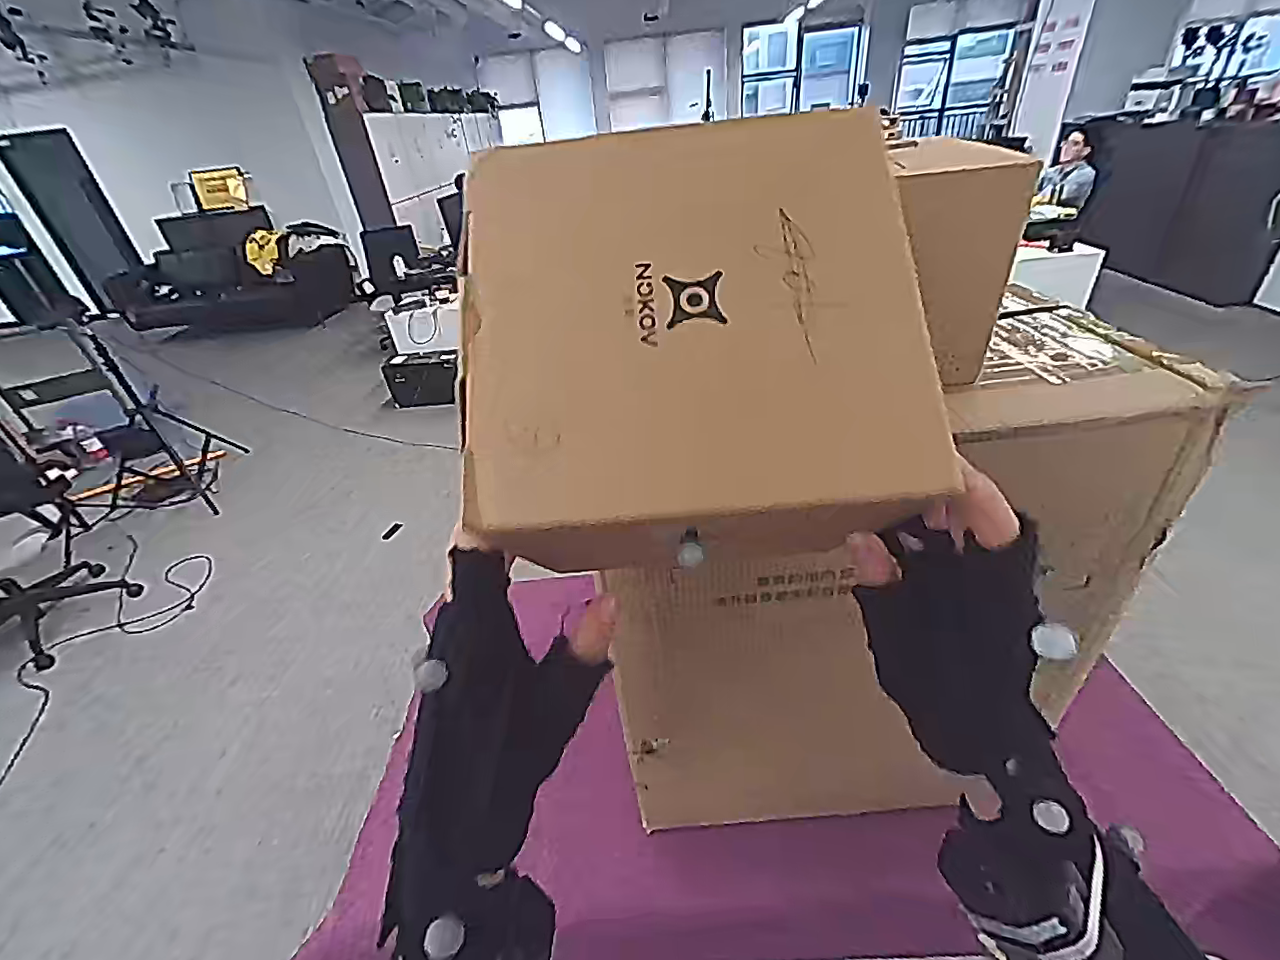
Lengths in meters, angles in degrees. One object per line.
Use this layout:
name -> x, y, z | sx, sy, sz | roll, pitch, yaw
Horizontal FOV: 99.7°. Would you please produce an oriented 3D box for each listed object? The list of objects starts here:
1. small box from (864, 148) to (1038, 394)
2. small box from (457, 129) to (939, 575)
small box -> 0.199, -0.187, 0.486 | 0.168, 0.176, 0.179 | -4, 36, 4
small box -> 0.020, -0.044, 0.292 | 0.179, 0.176, 0.168 | -5, 74, 2
